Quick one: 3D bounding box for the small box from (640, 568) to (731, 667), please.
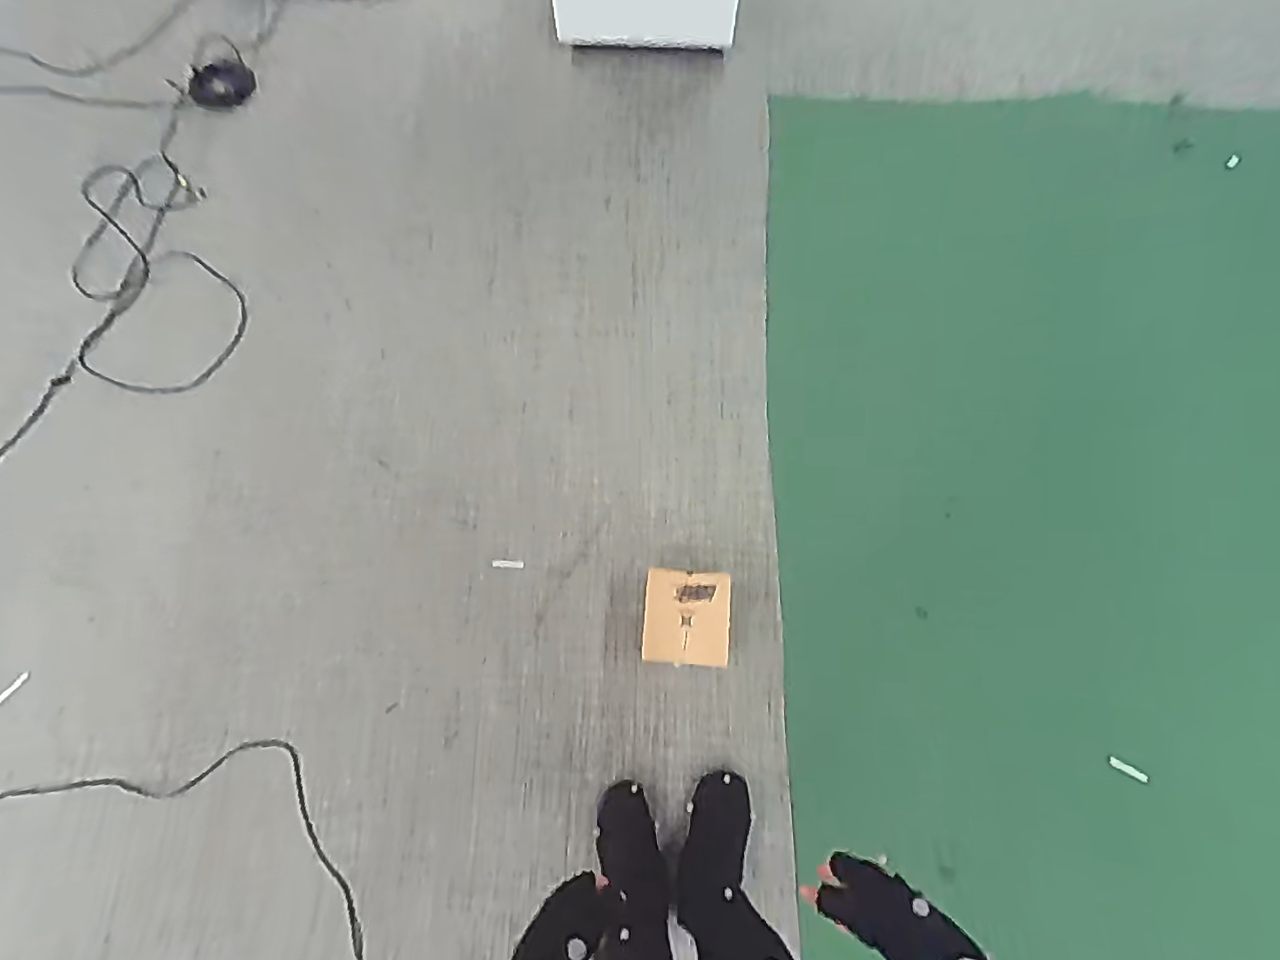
[{"bbox_3d":[0.089,0.284,1.118,0.168,0.176,0.179,5,75,2],"label":"small box"}]
